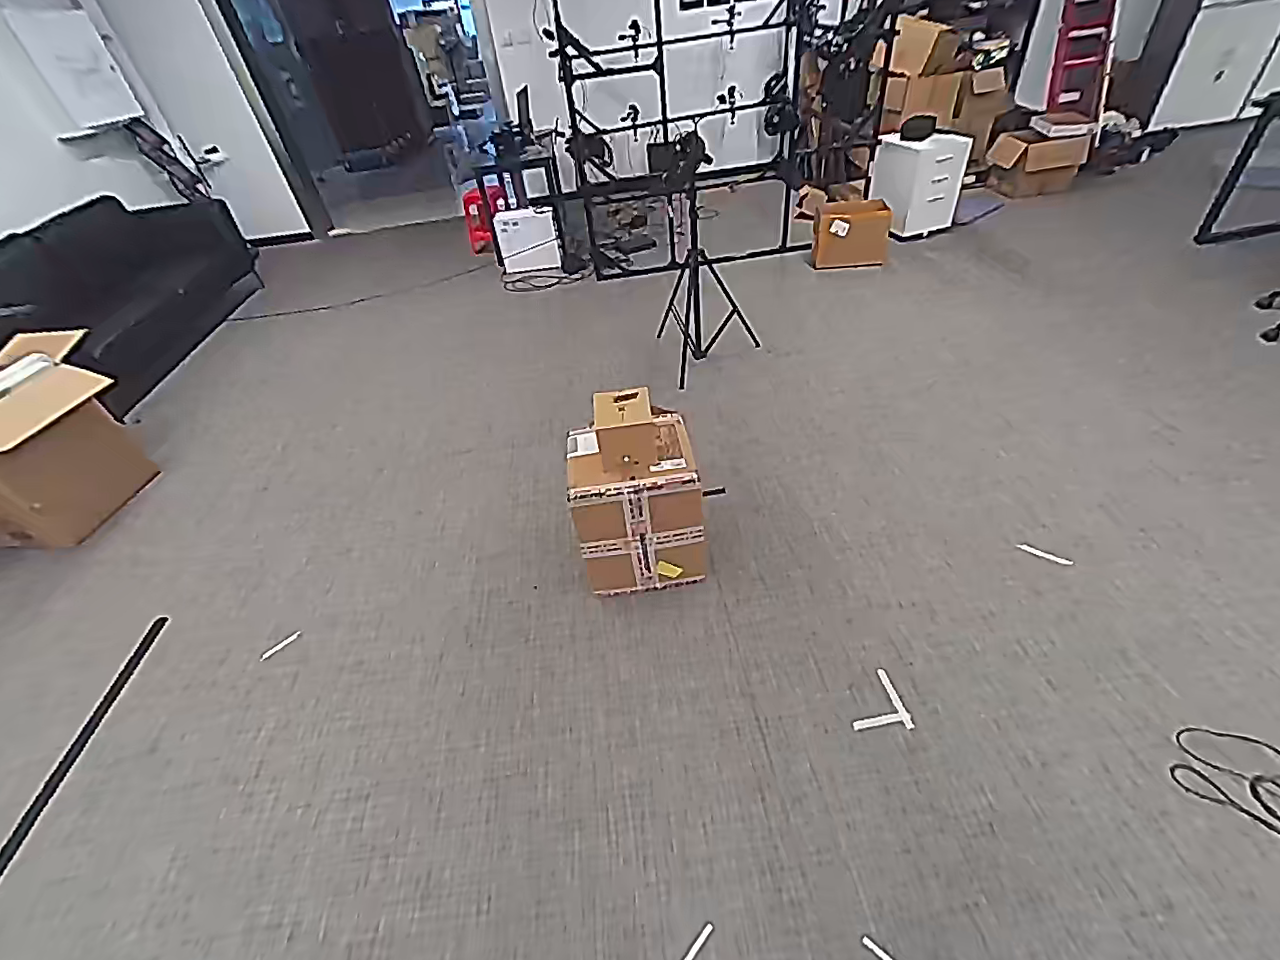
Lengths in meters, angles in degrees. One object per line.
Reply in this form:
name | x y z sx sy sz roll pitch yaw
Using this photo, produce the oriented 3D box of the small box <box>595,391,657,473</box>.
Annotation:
small box | -0.043 -0.144 1.625 0.168 0.176 0.179 -8 44 1
